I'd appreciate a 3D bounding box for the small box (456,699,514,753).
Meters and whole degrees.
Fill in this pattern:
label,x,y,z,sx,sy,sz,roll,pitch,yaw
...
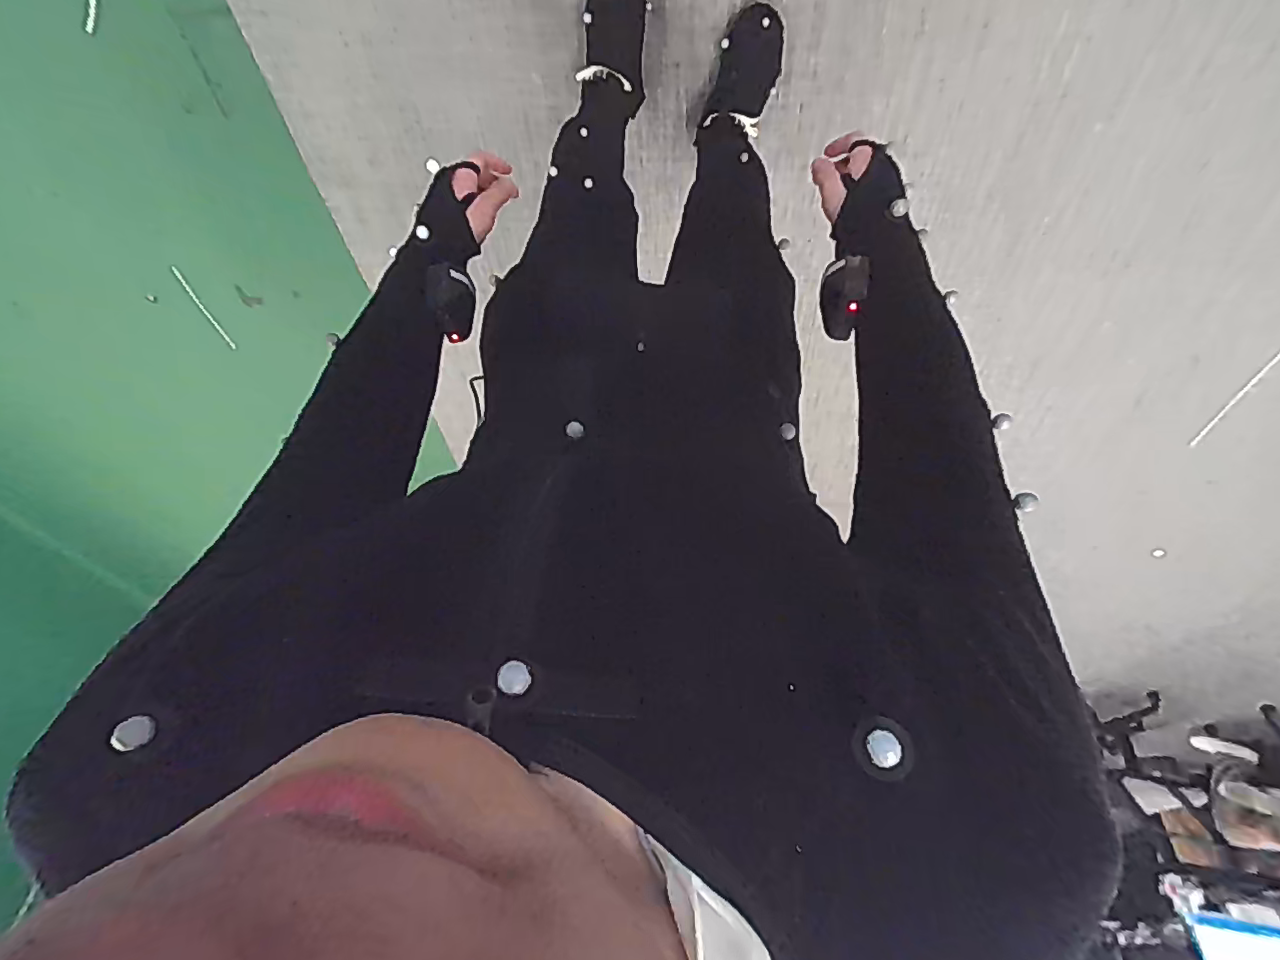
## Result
label,x,y,z,sx,sy,sz,roll,pitch,yaw
small box,-0.651,1.039,2.296,0.168,0.176,0.179,2,140,9

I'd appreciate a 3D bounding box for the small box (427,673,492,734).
label,x,y,z,sx,sy,sz,roll,pitch,yaw
small box,-0.687,0.863,2.085,0.168,0.176,0.179,3,141,7
